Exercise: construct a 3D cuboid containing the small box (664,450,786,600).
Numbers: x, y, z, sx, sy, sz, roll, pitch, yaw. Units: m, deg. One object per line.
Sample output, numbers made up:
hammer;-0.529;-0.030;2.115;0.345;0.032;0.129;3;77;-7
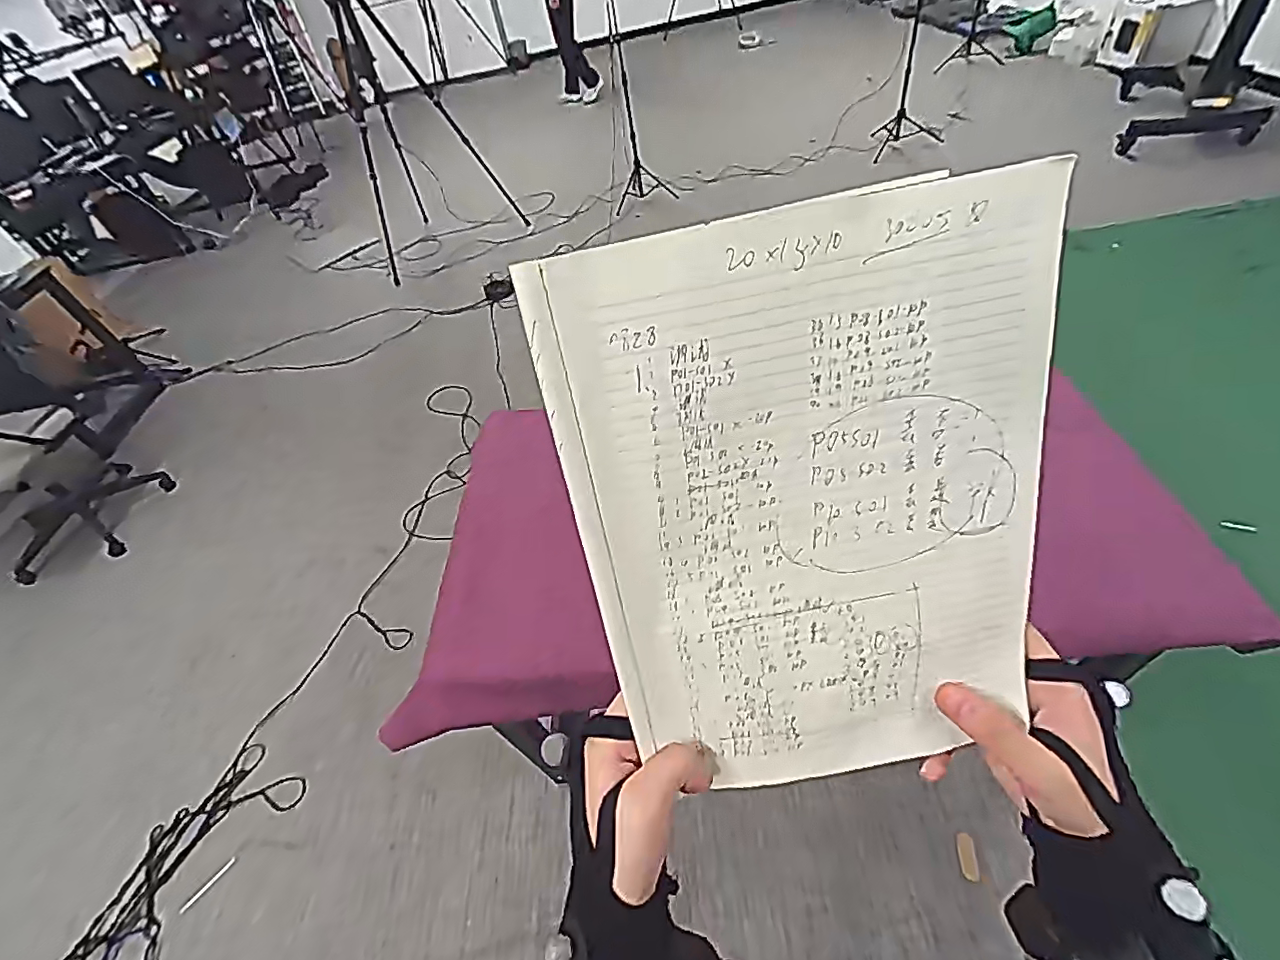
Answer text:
small box;0.133;0.079;0.860;0.168;0.176;0.179;-7;48;6
